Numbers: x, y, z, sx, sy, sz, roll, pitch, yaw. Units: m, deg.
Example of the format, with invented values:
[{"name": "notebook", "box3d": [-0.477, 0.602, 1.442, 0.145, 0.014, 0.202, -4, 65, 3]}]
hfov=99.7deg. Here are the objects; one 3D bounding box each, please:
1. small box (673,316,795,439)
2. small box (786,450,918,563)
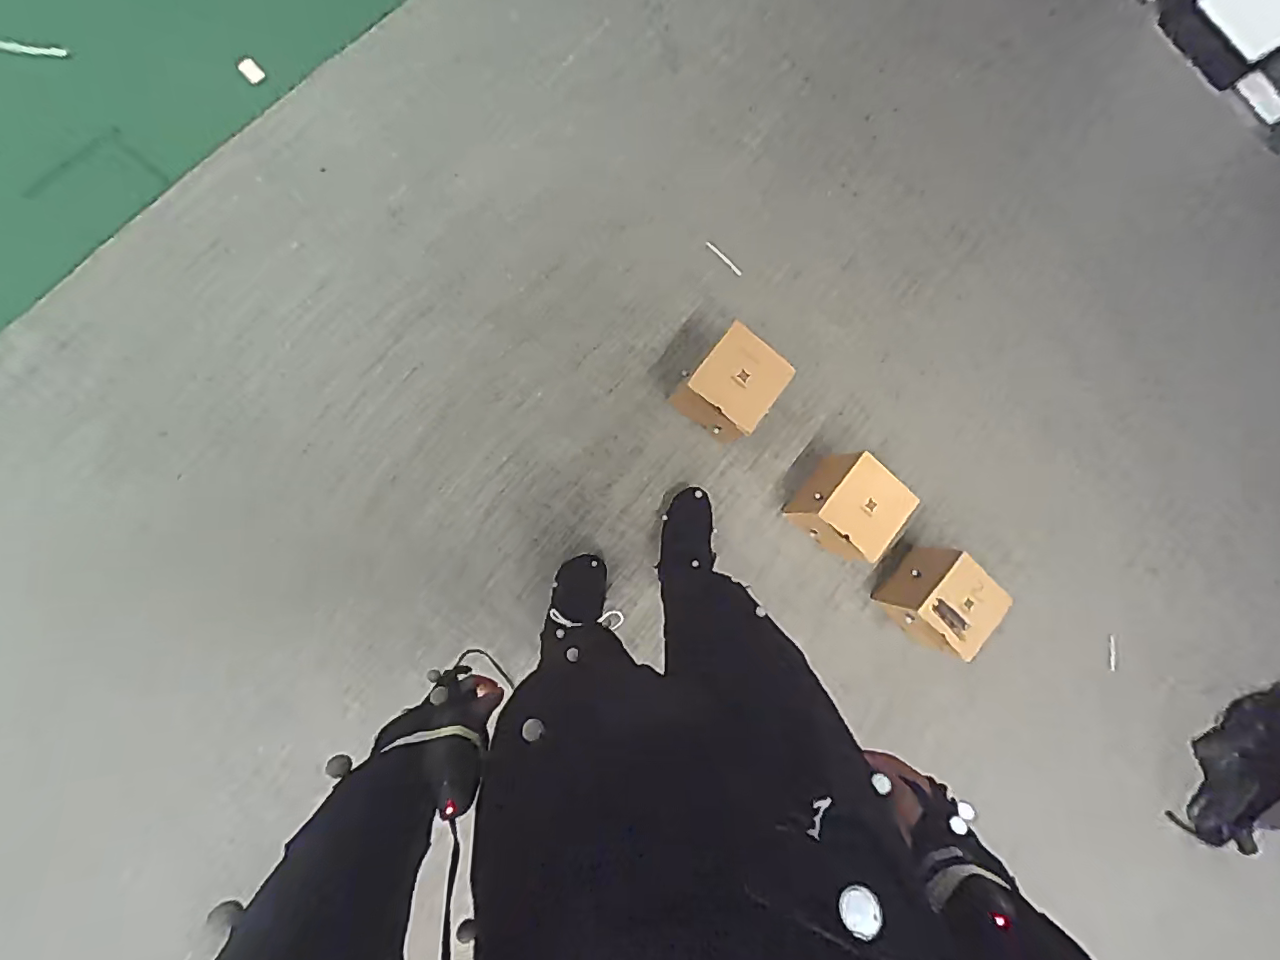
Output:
[{"name": "small box", "box3d": [0.187, -0.206, 1.146, 0.168, 0.176, 0.179, 39, 81, -7]}, {"name": "small box", "box3d": [0.454, 0.055, 1.184, 0.168, 0.176, 0.179, 41, 82, -7]}]
